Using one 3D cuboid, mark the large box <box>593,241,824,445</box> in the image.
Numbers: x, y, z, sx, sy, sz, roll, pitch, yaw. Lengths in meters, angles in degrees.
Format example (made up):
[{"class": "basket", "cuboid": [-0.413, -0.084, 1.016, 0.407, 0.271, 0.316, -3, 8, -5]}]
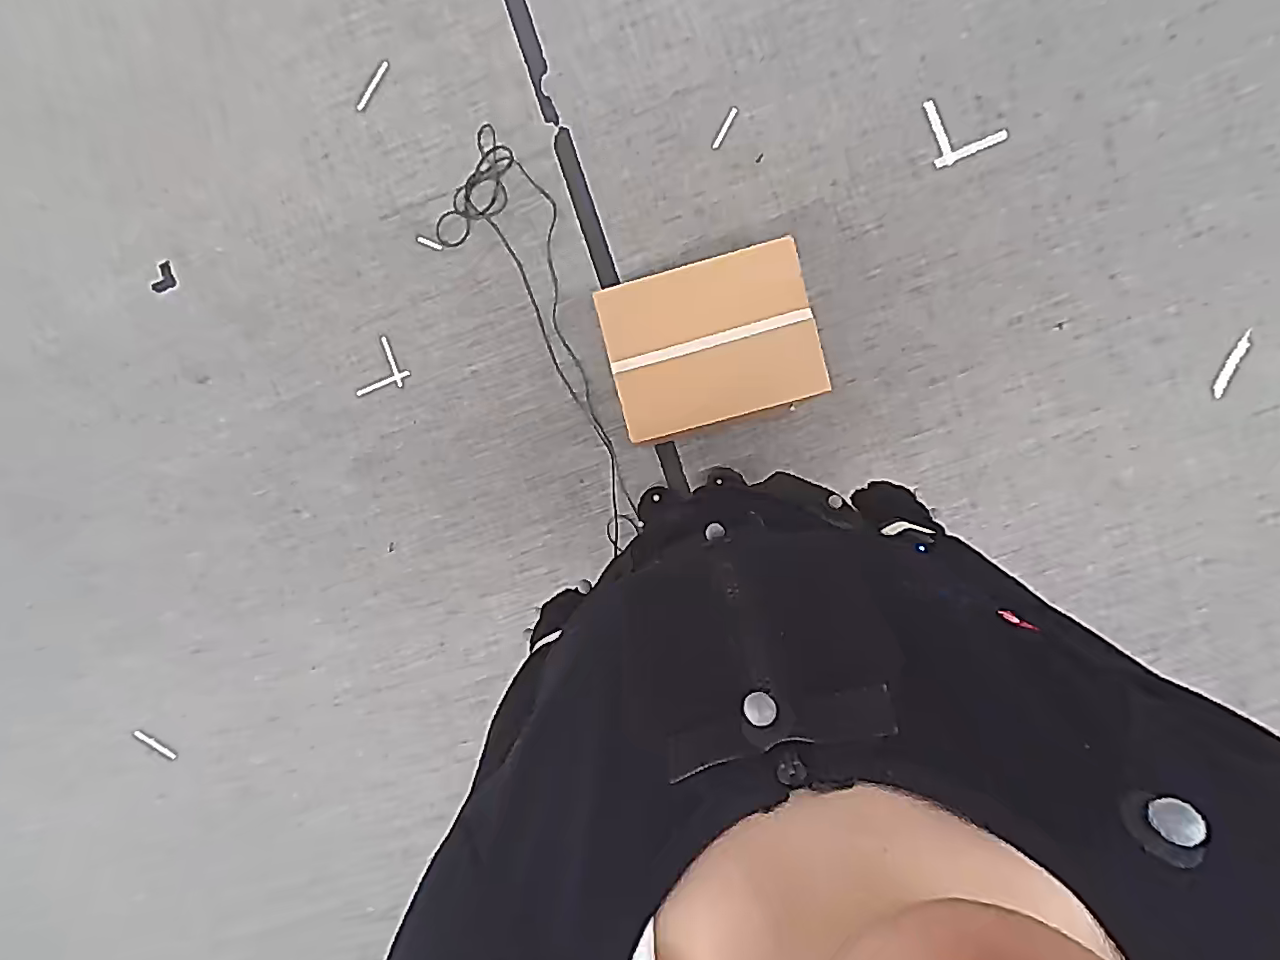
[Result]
[{"class": "large box", "cuboid": [0.145, -0.276, 1.217, 0.408, 0.320, 0.320, -15, 90, 4]}]
